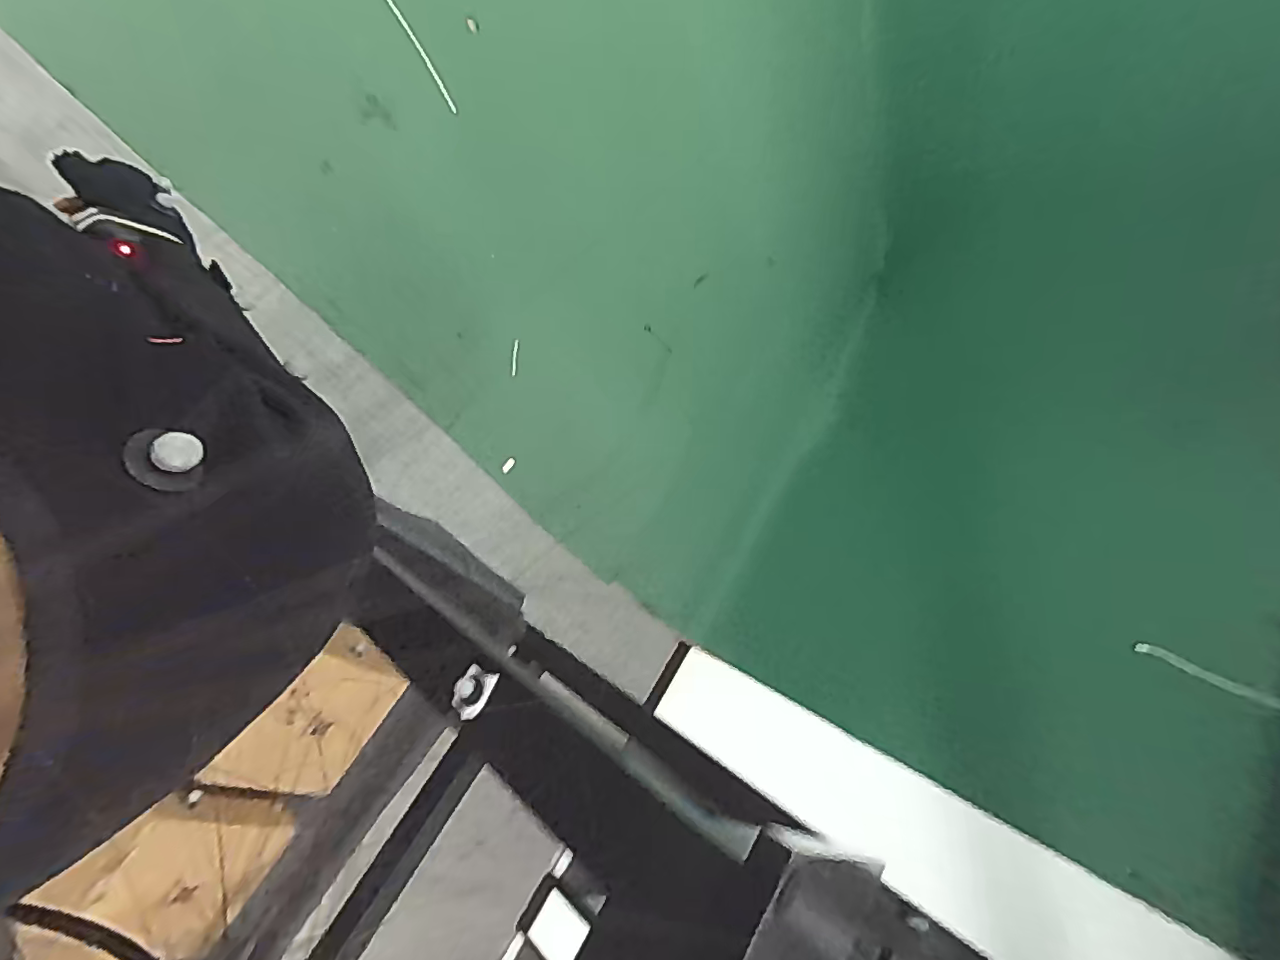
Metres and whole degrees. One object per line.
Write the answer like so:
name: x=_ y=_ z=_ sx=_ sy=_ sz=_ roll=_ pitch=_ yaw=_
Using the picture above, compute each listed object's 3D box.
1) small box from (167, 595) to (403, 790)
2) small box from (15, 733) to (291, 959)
small box: x=-0.467 y=0.277 z=0.719 sx=0.168 sy=0.176 sz=0.179 roll=-56 pitch=142 yaw=-16
small box: x=-0.584 y=0.437 z=0.657 sx=0.168 sy=0.176 sz=0.179 roll=-56 pitch=141 yaw=-17
